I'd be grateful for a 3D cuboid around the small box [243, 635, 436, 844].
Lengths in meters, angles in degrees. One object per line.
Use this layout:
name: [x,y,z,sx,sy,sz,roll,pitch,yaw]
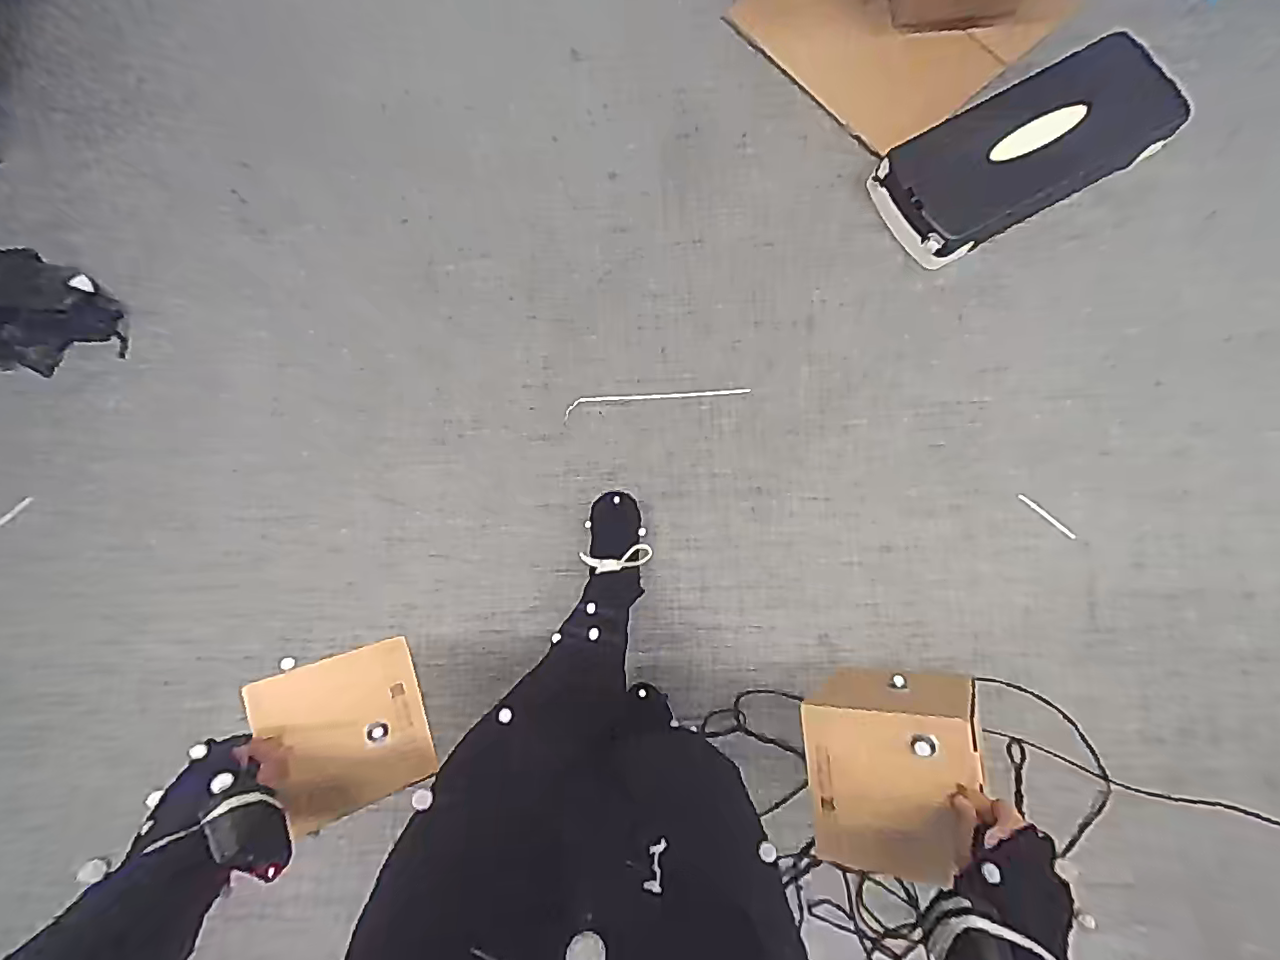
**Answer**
small box: [-0.361,0.300,0.666,0.176,0.179,0.168,-13,79,-31]
